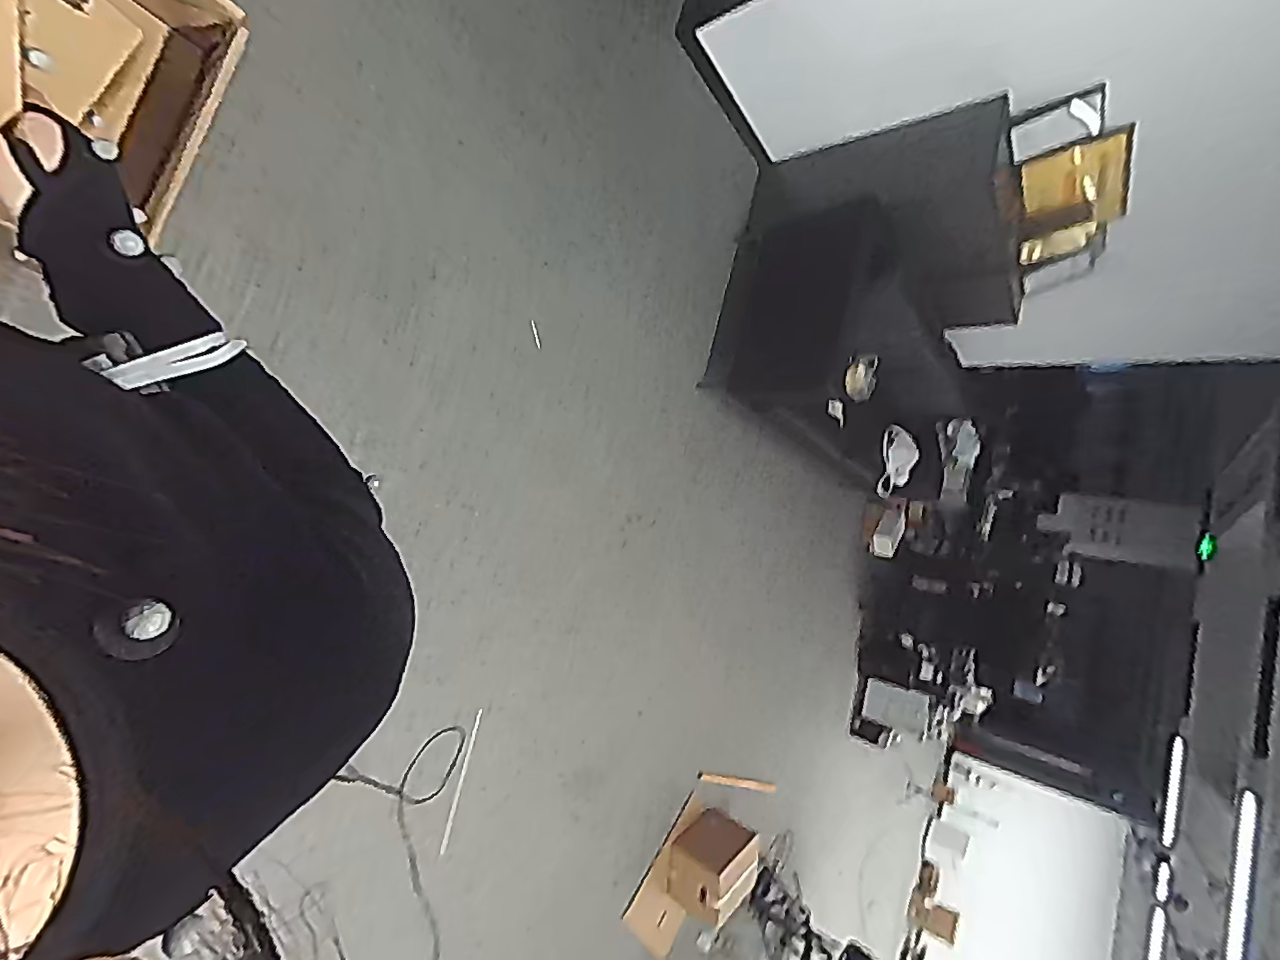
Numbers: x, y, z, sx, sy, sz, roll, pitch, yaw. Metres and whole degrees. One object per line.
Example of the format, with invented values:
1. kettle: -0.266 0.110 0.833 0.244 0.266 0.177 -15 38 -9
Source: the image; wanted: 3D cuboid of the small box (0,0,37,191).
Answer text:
1. small box: -0.485 -0.295 0.319 0.168 0.176 0.179 -2 103 -47
